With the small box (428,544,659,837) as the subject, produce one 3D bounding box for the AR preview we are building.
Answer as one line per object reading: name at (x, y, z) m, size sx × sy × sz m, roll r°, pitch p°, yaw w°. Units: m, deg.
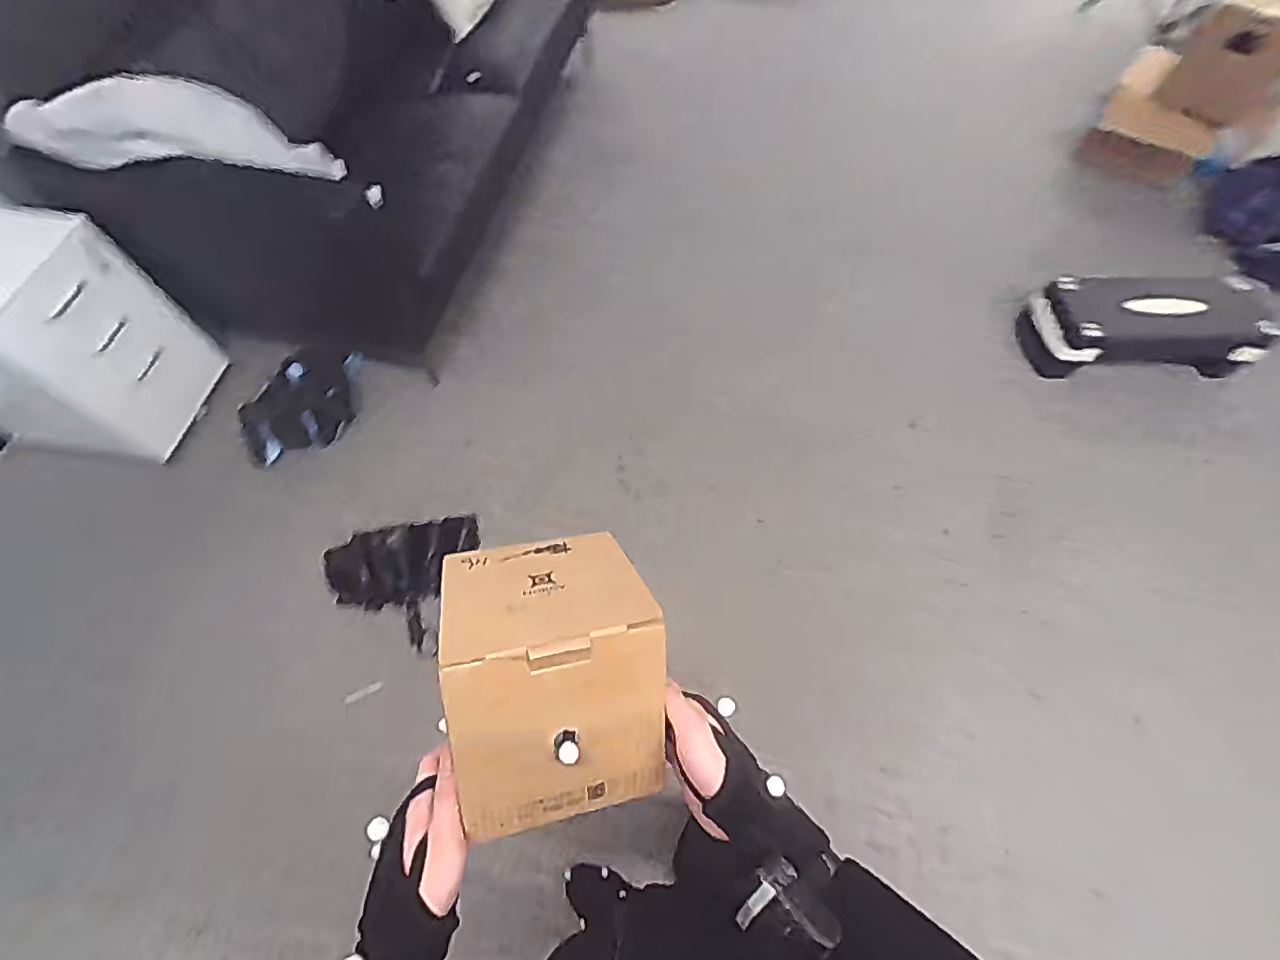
small box at (-0.085, 0.177, 0.480) m, size 0.168 × 0.176 × 0.179 m, roll -5°, pitch 20°, yaw -16°
